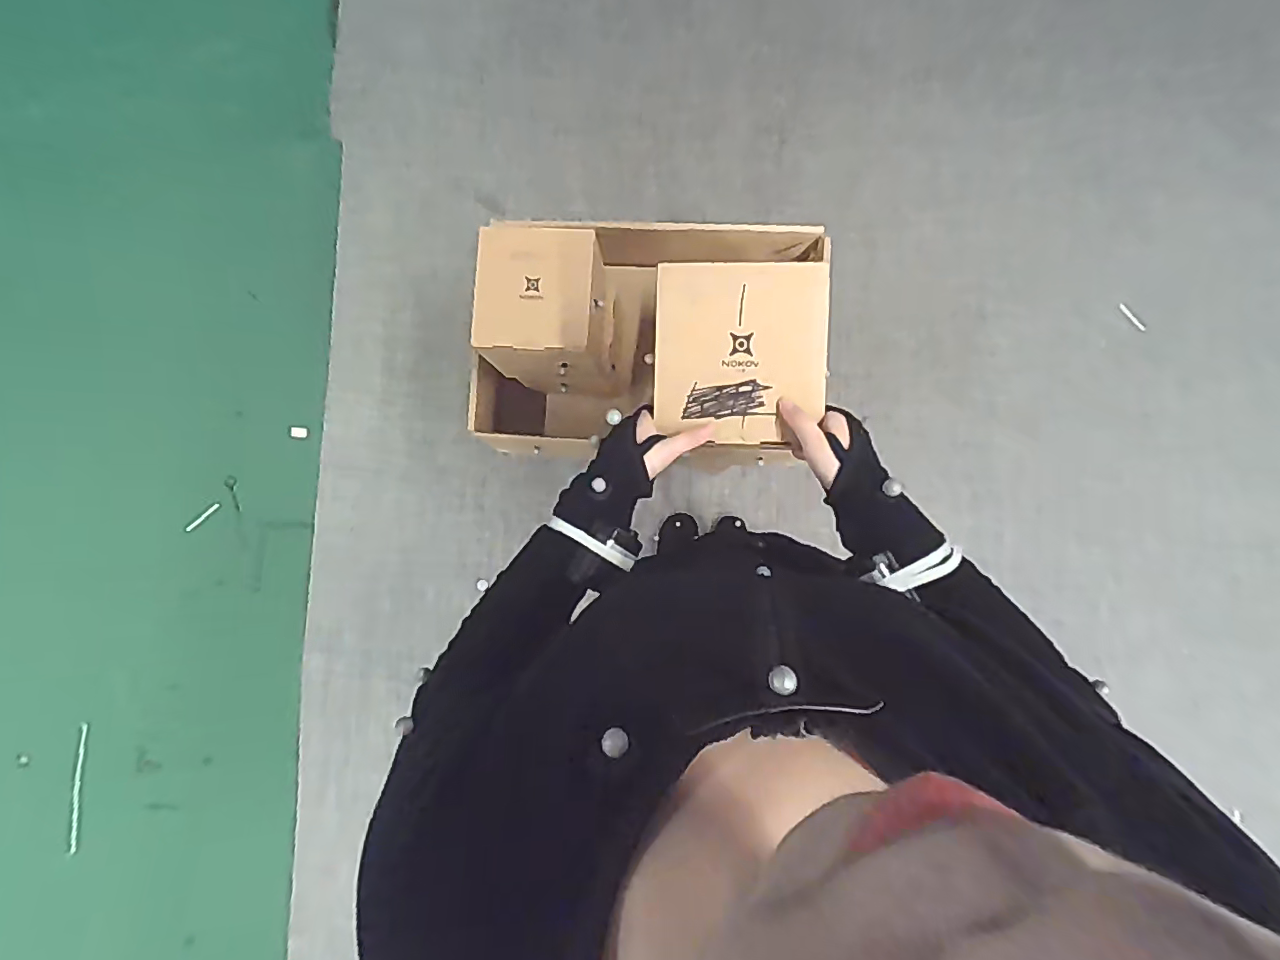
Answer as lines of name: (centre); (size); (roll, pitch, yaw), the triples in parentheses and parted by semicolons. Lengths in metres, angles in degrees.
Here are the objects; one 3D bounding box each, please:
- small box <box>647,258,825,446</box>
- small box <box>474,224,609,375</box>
small box: (0.099, -0.129, 0.600); (0.168, 0.176, 0.179); (2, 91, 5)
small box: (-0.142, -0.268, 0.836); (0.168, 0.176, 0.179); (4, 86, 4)
